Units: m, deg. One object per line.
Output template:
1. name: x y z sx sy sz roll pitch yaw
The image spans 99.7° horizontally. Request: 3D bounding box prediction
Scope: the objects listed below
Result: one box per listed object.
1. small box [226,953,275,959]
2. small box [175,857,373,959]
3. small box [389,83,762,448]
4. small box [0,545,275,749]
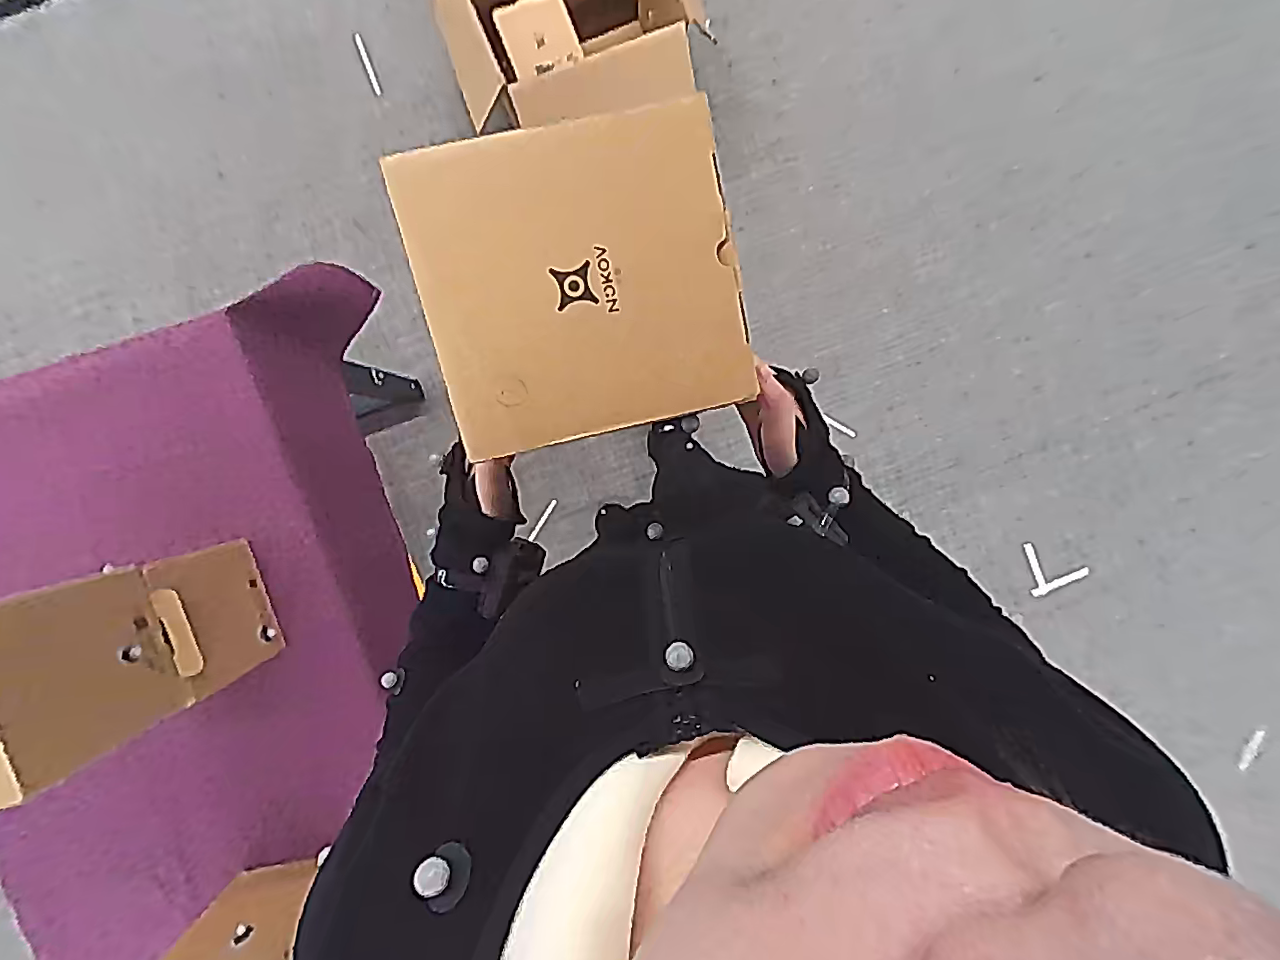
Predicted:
1. small box: -0.474 0.645 0.549 0.168 0.176 0.179 -8 93 -2
2. small box: -0.476 0.639 0.713 0.179 0.176 0.168 -9 93 -1
3. small box: -0.037 -0.126 0.375 0.179 0.176 0.168 -14 101 -4
4. small box: -0.600 0.193 0.676 0.179 0.176 0.168 -17 94 1
